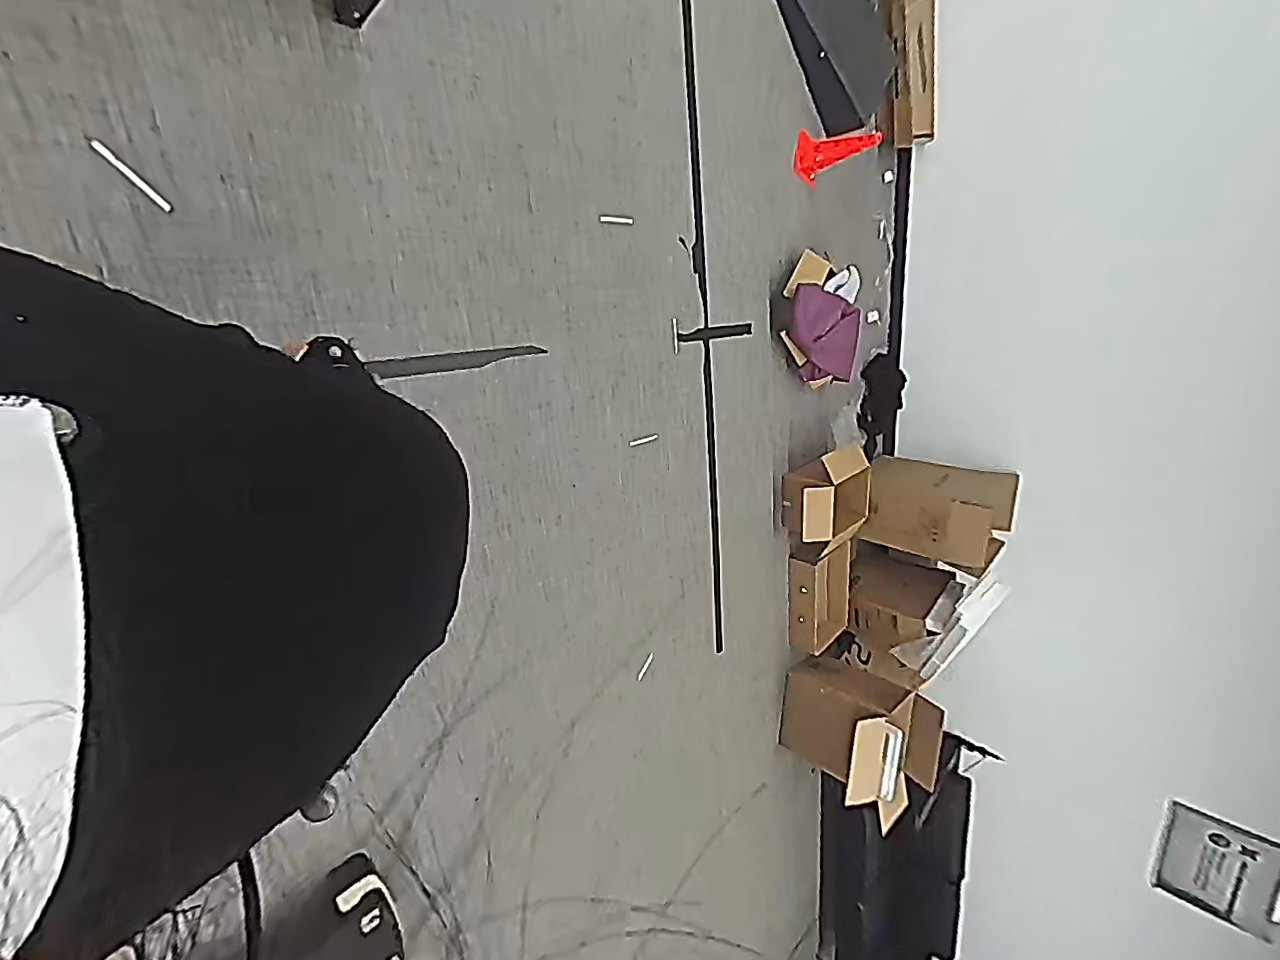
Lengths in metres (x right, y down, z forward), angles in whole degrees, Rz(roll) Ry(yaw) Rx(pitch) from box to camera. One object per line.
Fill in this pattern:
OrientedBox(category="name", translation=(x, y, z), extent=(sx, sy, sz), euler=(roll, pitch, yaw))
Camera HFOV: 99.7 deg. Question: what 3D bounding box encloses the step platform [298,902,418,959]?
OrientedBox(category="step platform", translation=(-0.848, 1.340, 1.213), extent=(0.684, 0.204, 0.286), euler=(-22, 115, -39))
